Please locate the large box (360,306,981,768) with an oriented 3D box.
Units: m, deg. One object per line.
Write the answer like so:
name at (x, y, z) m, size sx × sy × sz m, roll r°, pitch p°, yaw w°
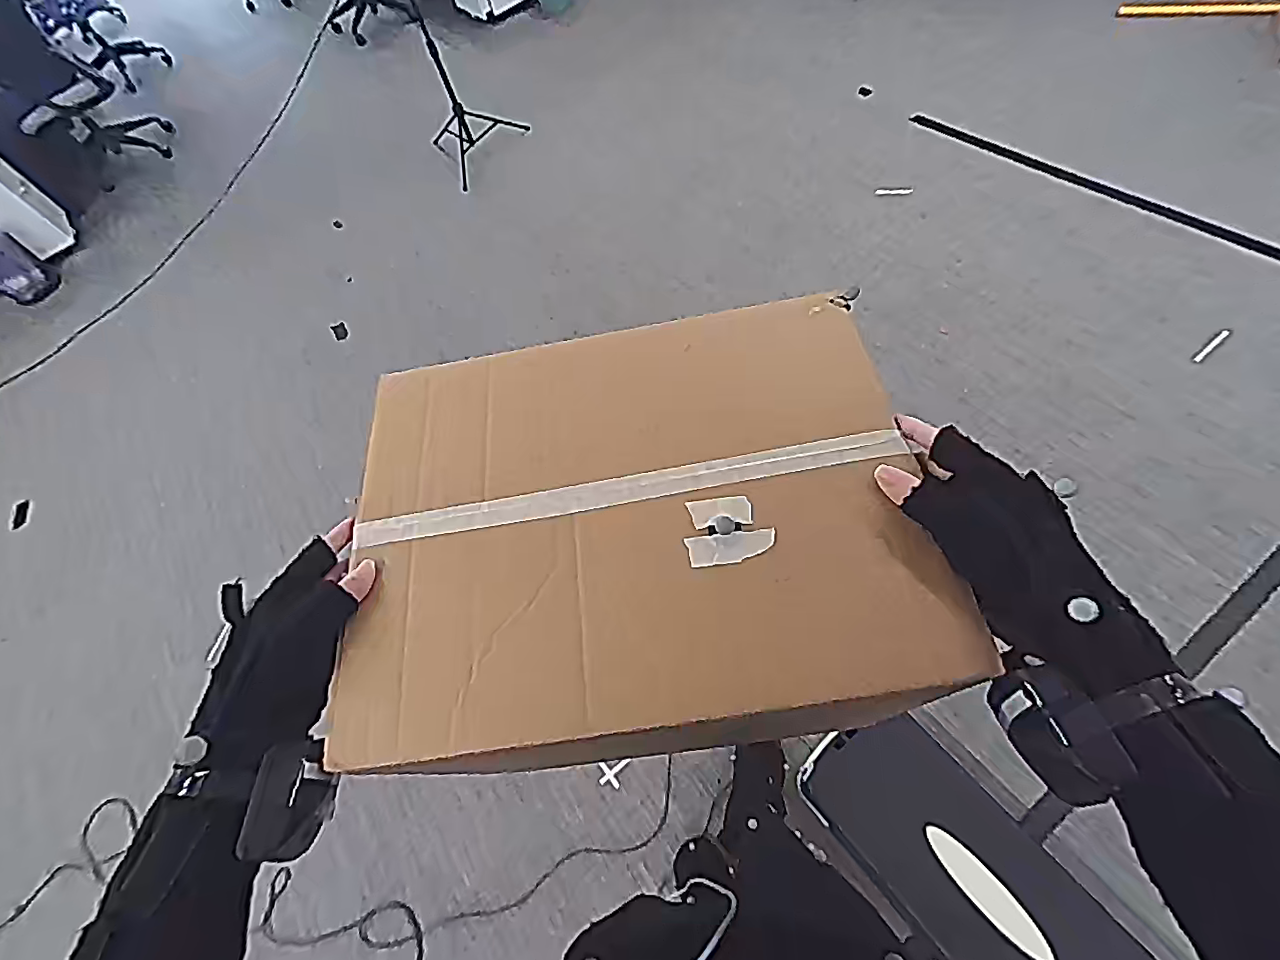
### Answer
large box at (0.012, 0.082, 0.538) m, size 0.408 × 0.320 × 0.320 m, roll -9°, pitch 61°, yaw 3°
